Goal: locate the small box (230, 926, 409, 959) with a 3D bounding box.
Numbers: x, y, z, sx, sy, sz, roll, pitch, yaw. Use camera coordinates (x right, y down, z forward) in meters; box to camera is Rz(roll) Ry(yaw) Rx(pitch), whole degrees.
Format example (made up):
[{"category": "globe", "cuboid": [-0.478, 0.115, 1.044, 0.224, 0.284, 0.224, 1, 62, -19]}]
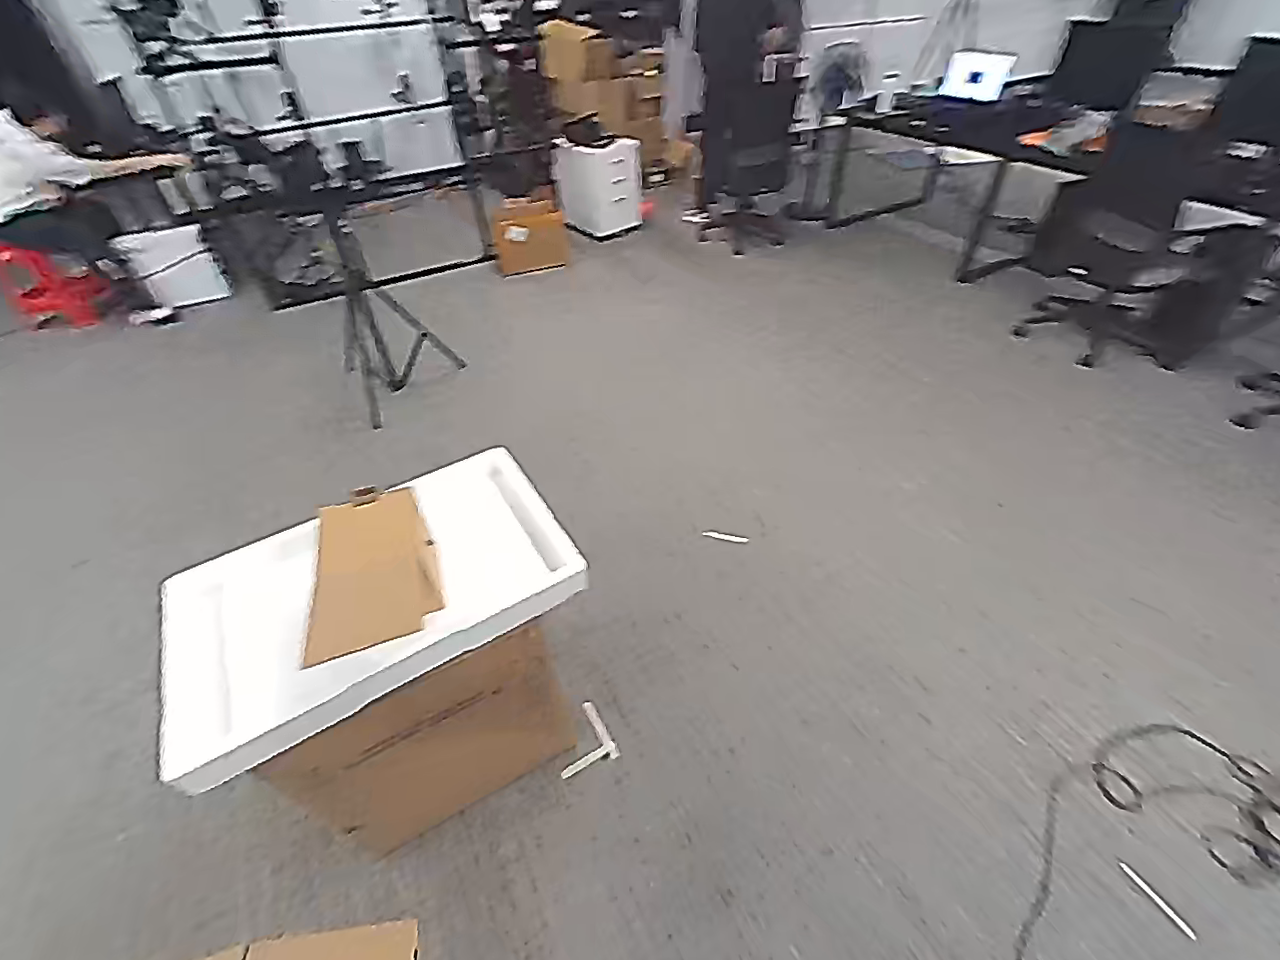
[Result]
[{"category": "small box", "cuboid": [-0.356, 0.606, 0.555, 0.179, 0.176, 0.168, 20, 27, -34]}]
